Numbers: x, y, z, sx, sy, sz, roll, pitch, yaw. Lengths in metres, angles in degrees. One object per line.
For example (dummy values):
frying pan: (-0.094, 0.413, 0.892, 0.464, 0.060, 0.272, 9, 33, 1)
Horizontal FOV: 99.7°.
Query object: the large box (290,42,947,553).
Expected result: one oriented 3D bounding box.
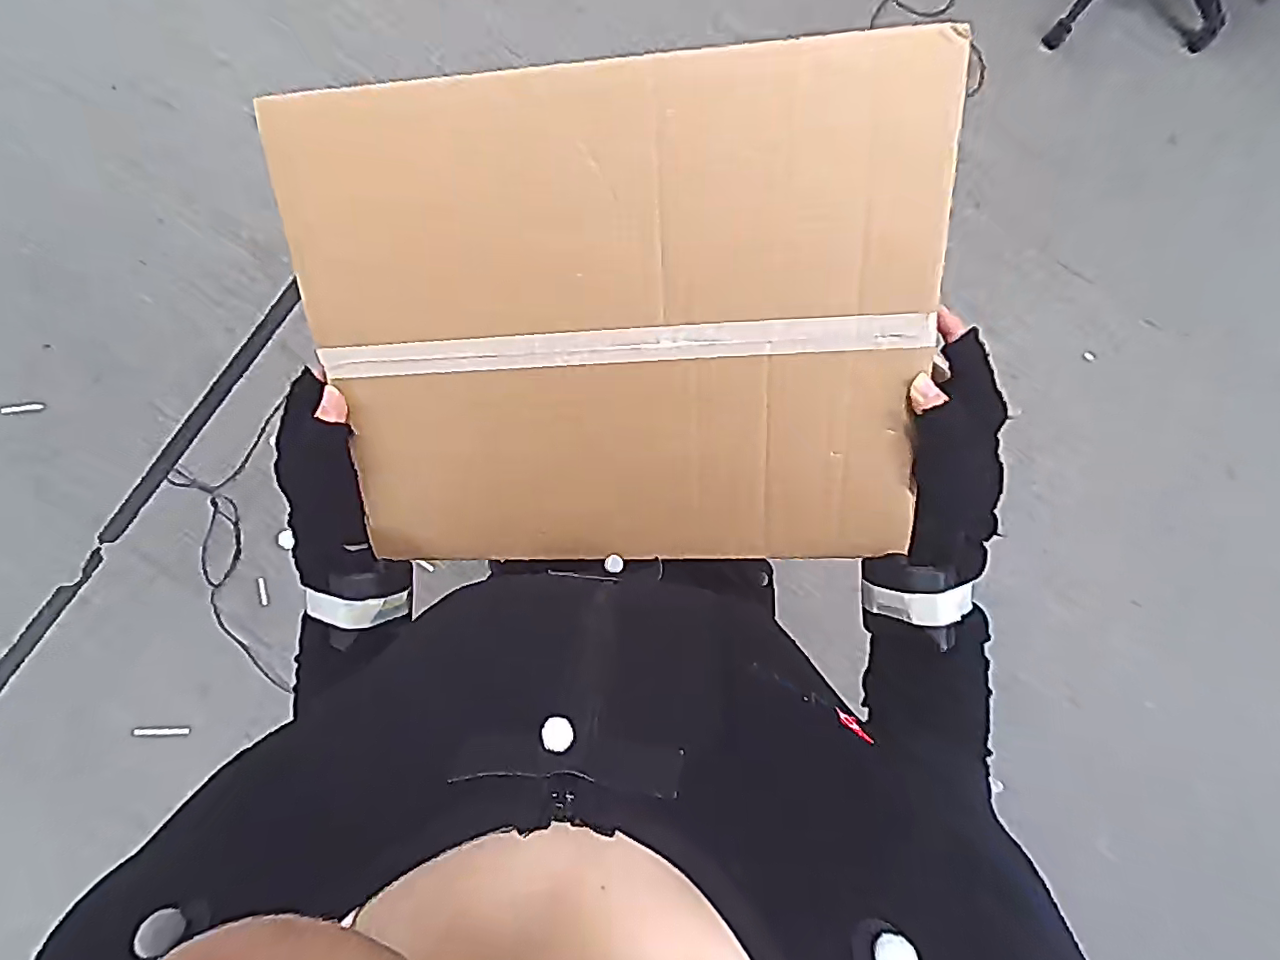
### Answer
large box: (-0.004, -0.143, 0.508, 0.408, 0.320, 0.320, -2, 112, 6)
